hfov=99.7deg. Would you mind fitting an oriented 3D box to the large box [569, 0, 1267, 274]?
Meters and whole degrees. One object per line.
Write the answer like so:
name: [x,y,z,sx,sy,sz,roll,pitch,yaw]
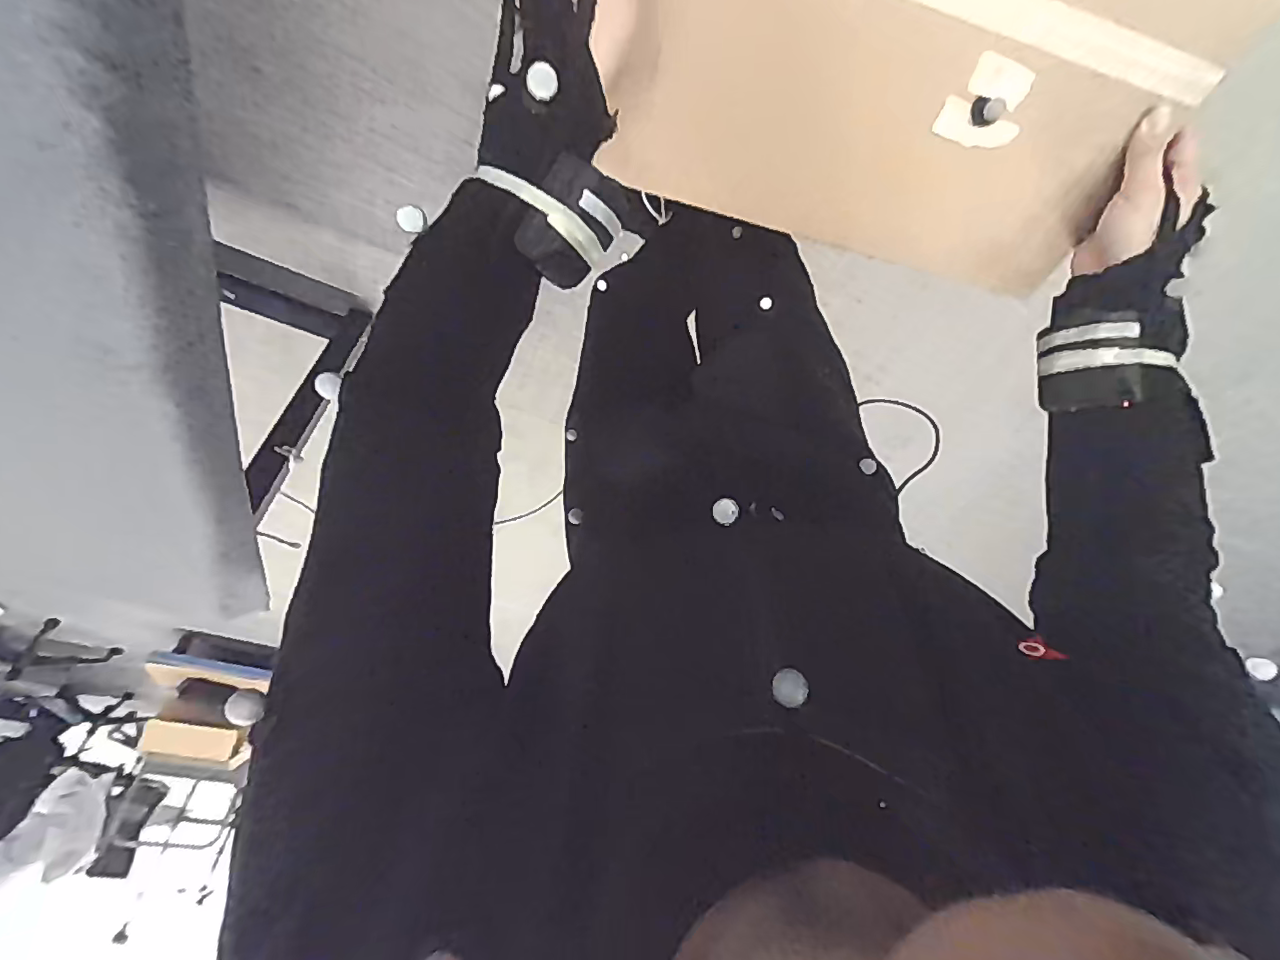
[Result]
large box: [0.171,-0.410,0.412,0.408,0.320,0.320,9,137,-11]
